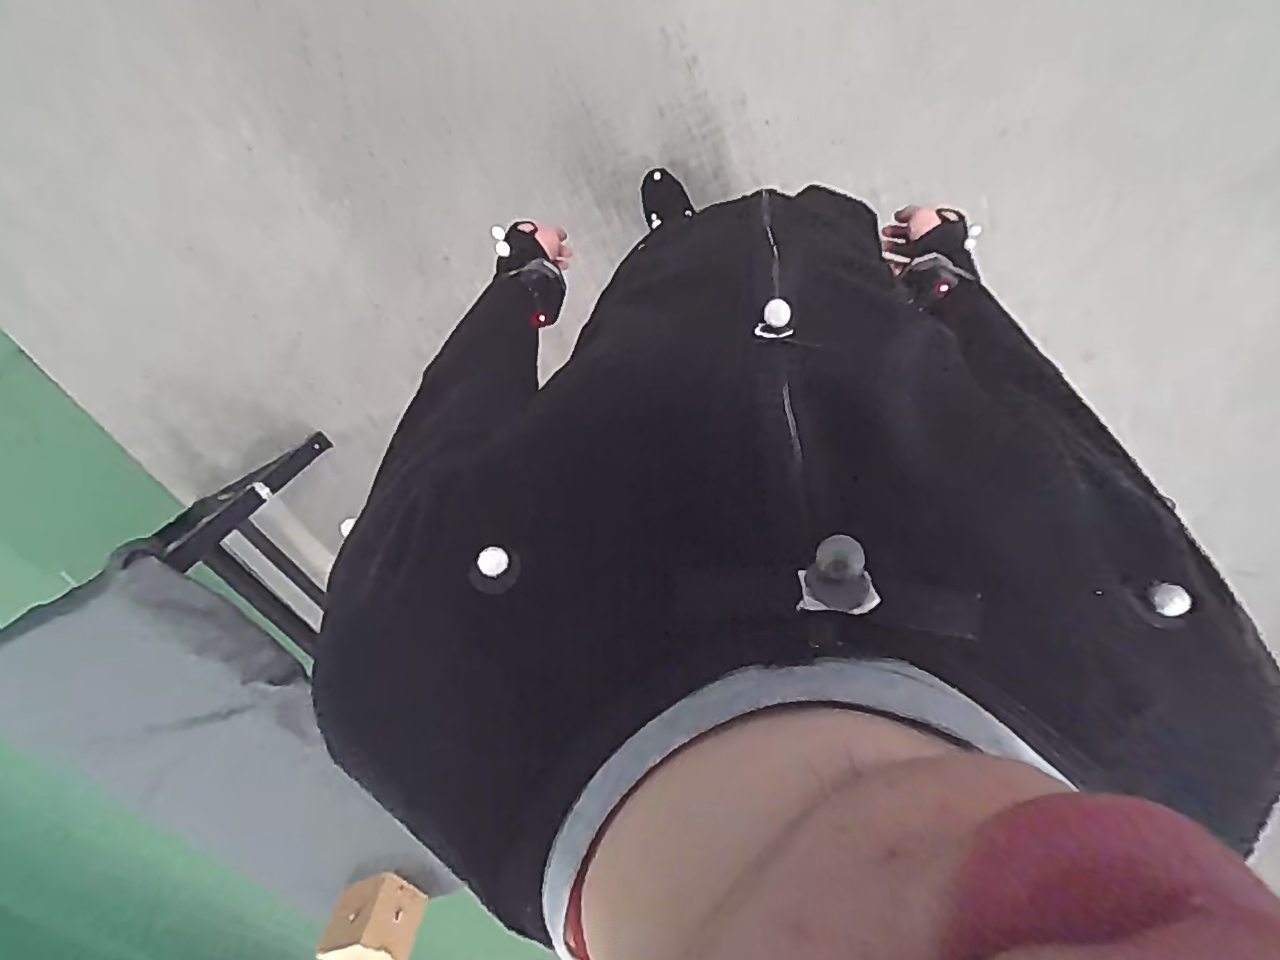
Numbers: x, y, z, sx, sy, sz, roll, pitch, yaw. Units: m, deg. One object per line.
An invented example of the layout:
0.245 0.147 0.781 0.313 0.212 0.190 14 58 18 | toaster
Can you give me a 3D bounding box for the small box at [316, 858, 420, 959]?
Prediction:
-0.743 1.192 1.508 0.179 0.176 0.168 -27 115 16 | small box
